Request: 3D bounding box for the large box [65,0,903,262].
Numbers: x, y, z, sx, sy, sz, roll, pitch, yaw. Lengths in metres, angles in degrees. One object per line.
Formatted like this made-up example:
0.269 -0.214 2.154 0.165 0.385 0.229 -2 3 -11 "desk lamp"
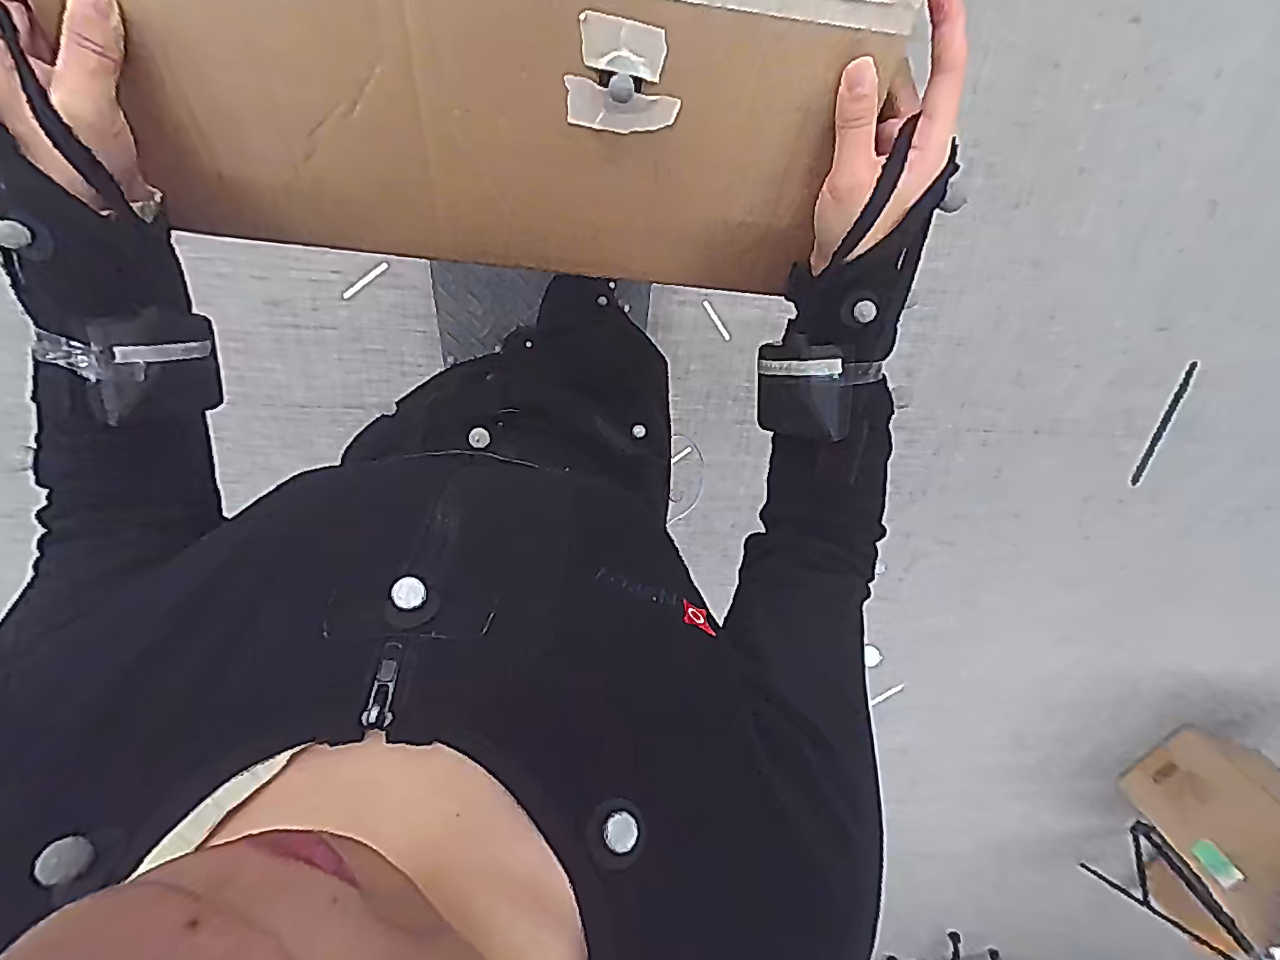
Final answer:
-0.072 -0.368 0.326 0.408 0.320 0.320 3 142 -7 "large box"
